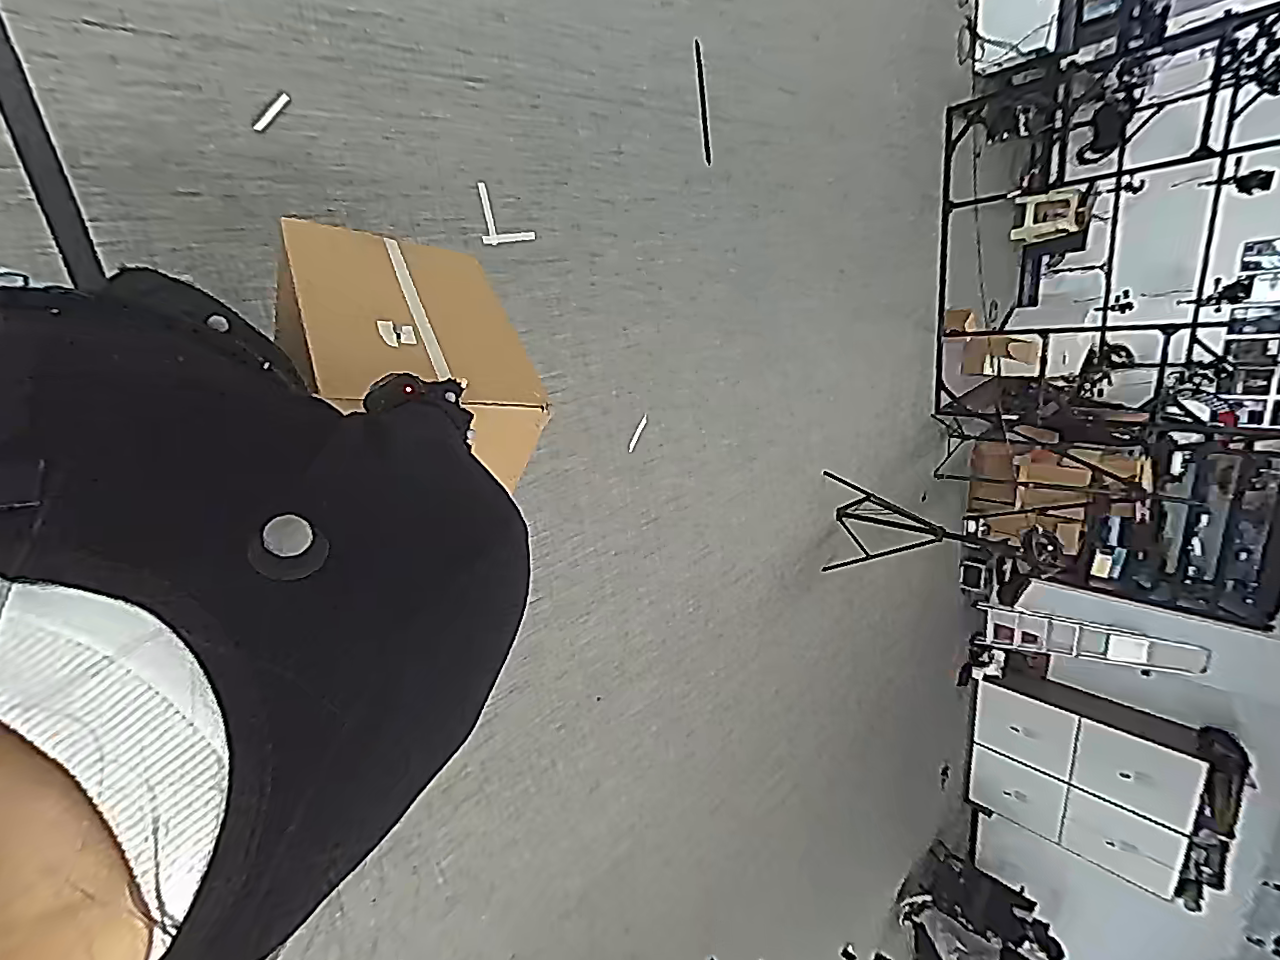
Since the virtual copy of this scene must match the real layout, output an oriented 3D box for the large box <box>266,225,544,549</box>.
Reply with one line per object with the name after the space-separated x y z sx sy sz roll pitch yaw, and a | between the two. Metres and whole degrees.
-0.417 -0.147 0.908 0.320 0.408 0.320 -4 143 -38 | large box
